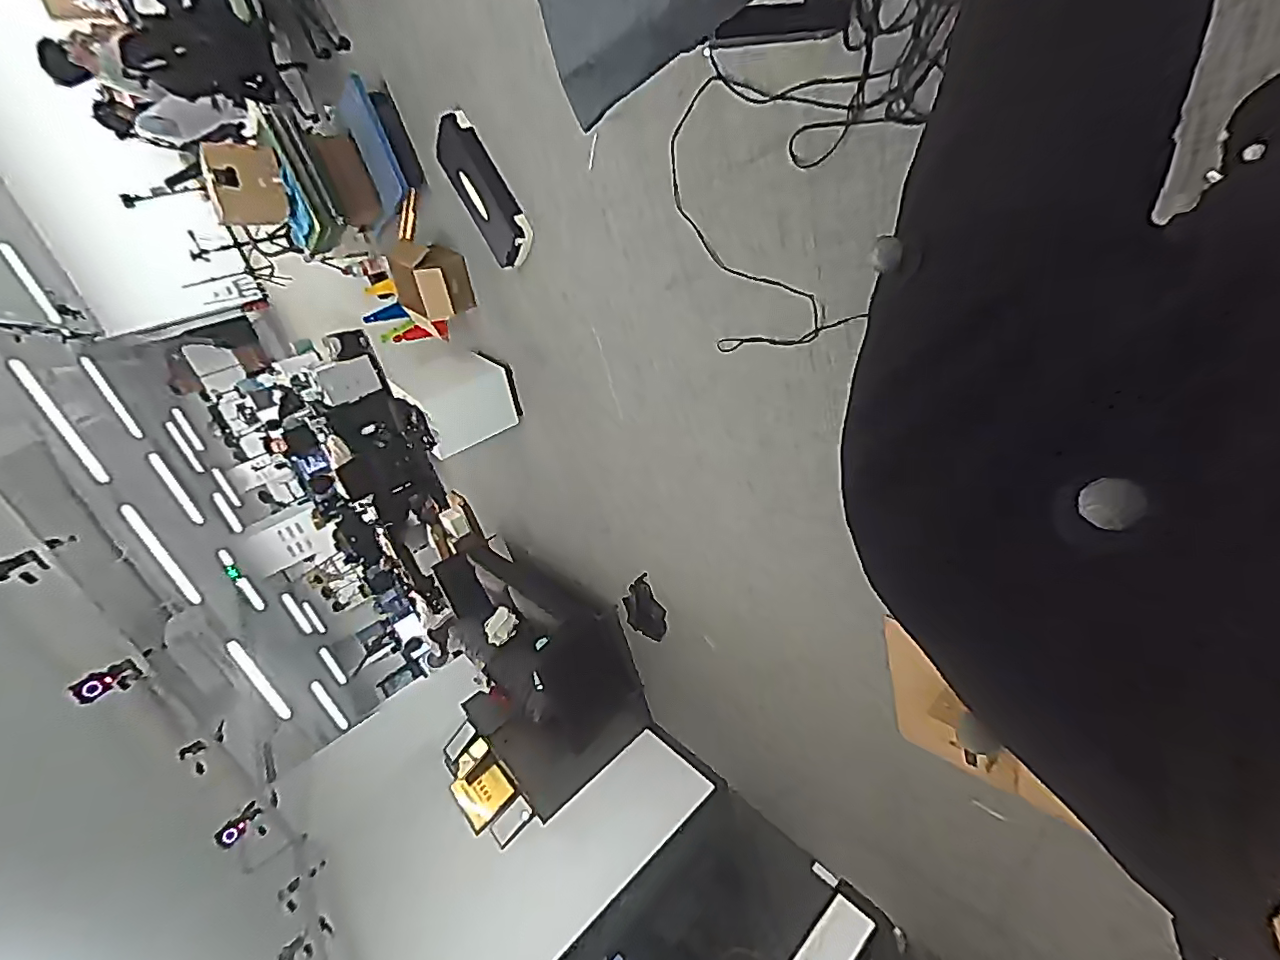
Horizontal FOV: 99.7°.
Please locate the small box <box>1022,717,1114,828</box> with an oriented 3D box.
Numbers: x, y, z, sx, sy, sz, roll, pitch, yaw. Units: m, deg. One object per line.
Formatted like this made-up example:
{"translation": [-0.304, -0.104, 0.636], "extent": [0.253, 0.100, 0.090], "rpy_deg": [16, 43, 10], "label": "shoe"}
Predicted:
{"translation": [1.205, 0.815, 1.523], "extent": [0.168, 0.176, 0.179], "rpy_deg": [14, 127, 51], "label": "small box"}
